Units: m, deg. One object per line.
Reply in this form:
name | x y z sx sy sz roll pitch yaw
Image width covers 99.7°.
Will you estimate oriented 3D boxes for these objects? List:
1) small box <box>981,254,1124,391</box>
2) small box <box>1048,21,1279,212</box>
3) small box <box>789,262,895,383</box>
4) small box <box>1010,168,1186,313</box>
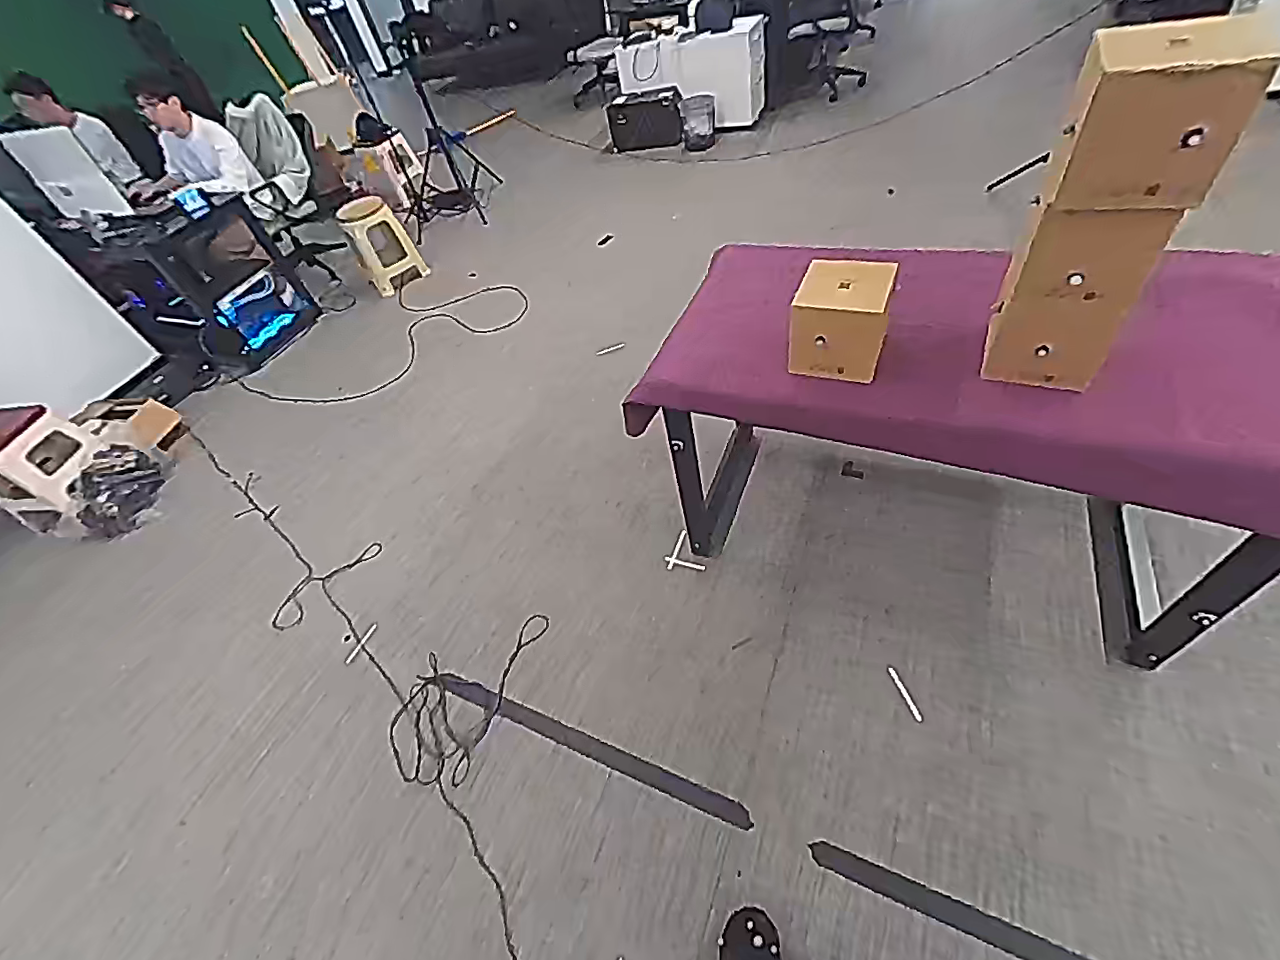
small box | 0.742 -0.286 0.985 0.168 0.176 0.179 15 54 24
small box | 0.680 -0.482 0.731 0.168 0.176 0.179 12 53 22
small box | 0.405 -0.318 1.096 0.168 0.176 0.179 13 53 23
small box | 0.716 -0.394 0.864 0.168 0.176 0.179 14 55 25
